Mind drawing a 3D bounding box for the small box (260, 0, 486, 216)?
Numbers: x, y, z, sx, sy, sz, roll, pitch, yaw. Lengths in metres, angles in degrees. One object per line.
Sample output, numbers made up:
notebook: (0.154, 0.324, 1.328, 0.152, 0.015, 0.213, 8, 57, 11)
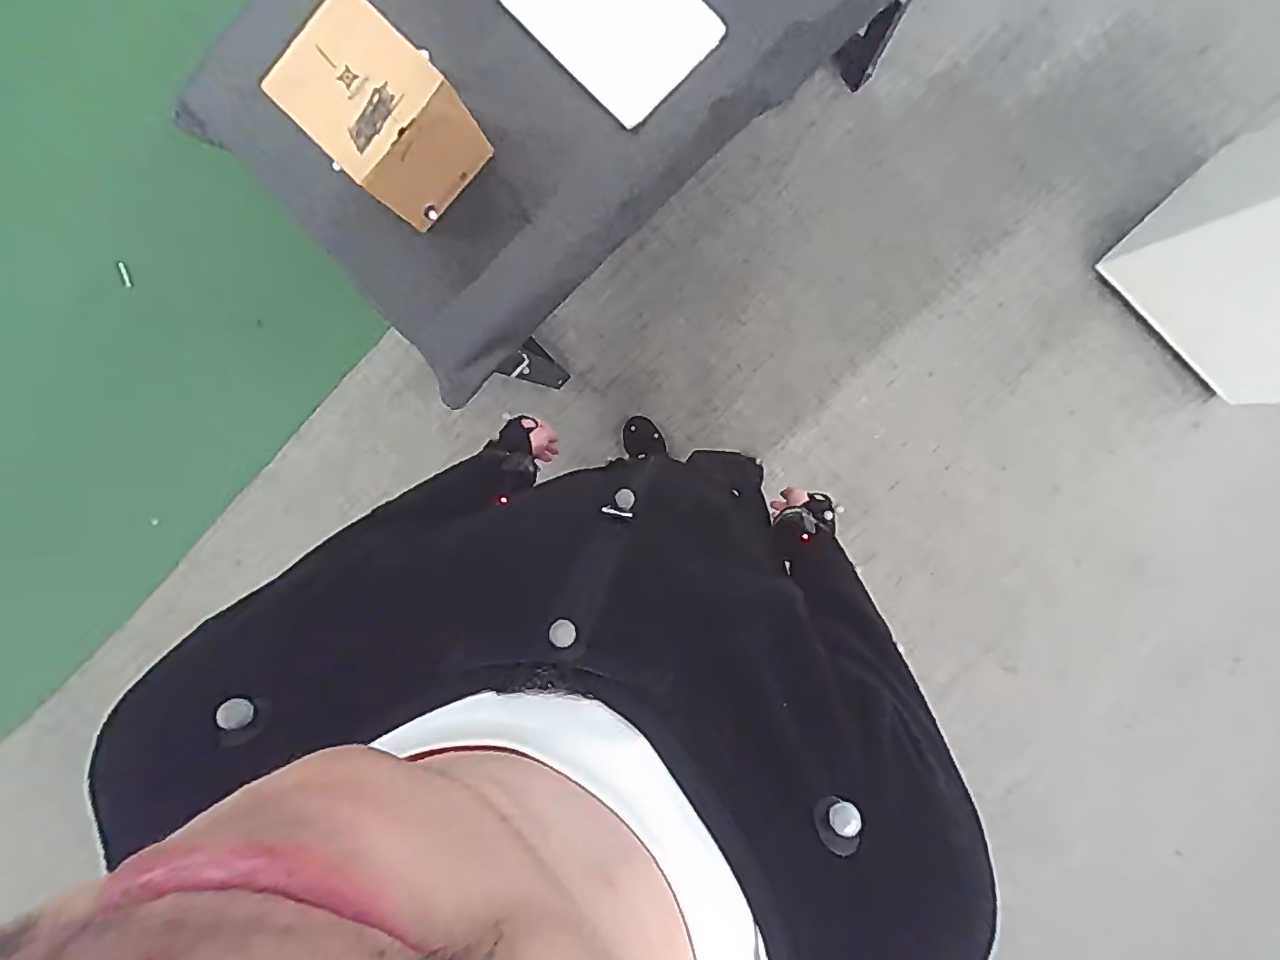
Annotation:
small box: (-0.341, -0.490, 0.730, 0.179, 0.176, 0.168, 44, 96, -1)
